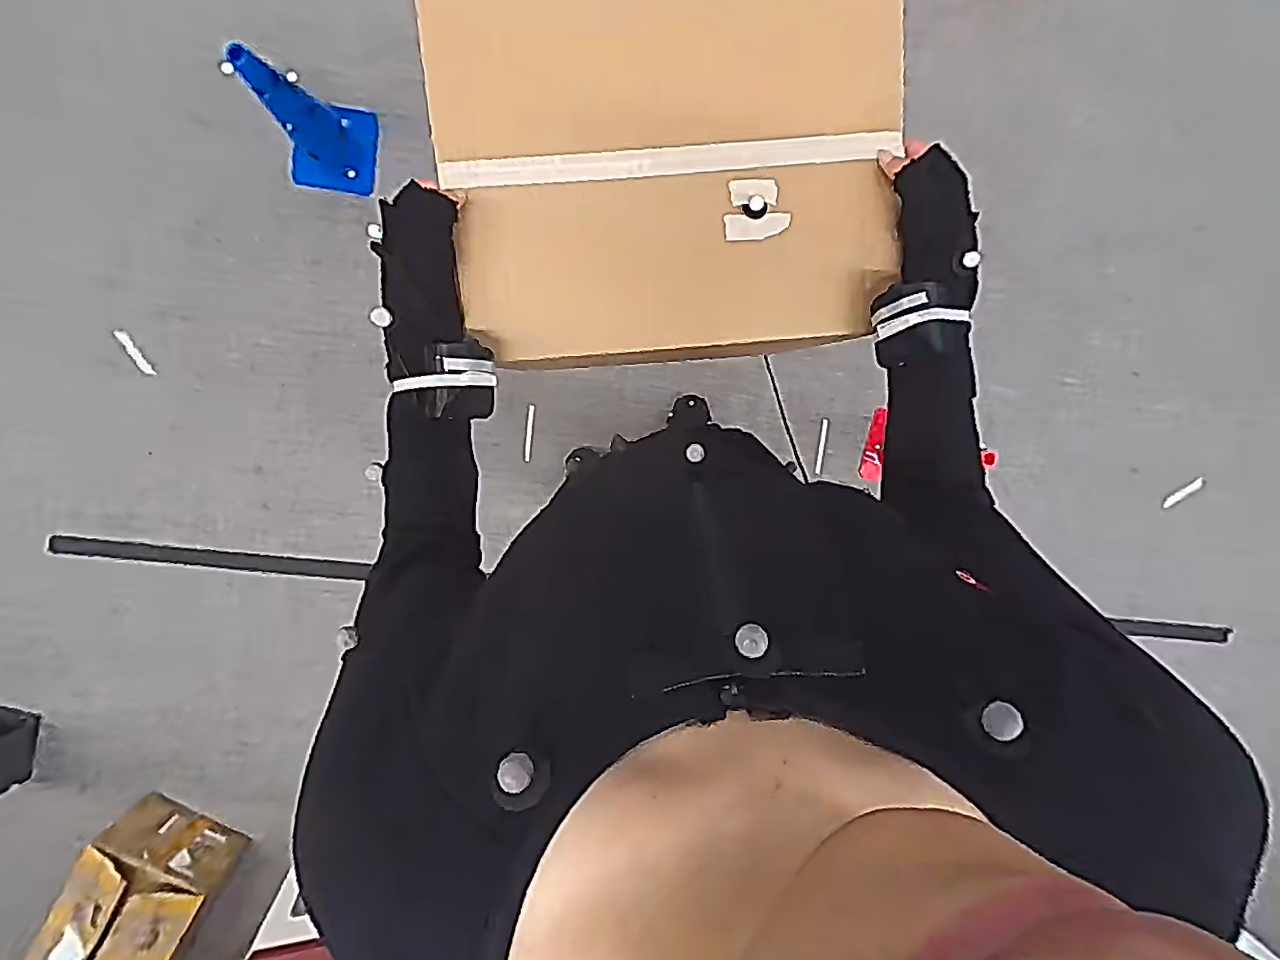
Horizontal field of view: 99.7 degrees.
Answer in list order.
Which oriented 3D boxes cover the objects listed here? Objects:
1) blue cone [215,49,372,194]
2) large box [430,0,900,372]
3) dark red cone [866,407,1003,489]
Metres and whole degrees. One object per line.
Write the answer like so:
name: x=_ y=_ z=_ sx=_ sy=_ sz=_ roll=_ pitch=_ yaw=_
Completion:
blue cone: x=-0.764 y=-0.800 z=1.184 sx=0.192 sy=0.380 sz=0.193 roll=9 pitch=96 yaw=-3
large box: x=0.024 y=-0.303 z=0.623 sx=0.408 sy=0.320 sz=0.320 roll=-5 pitch=100 yaw=-3
dark red cone: x=0.731 y=-0.066 z=1.310 sx=0.201 sy=0.394 sz=0.202 roll=12 pitch=96 yaw=-3
